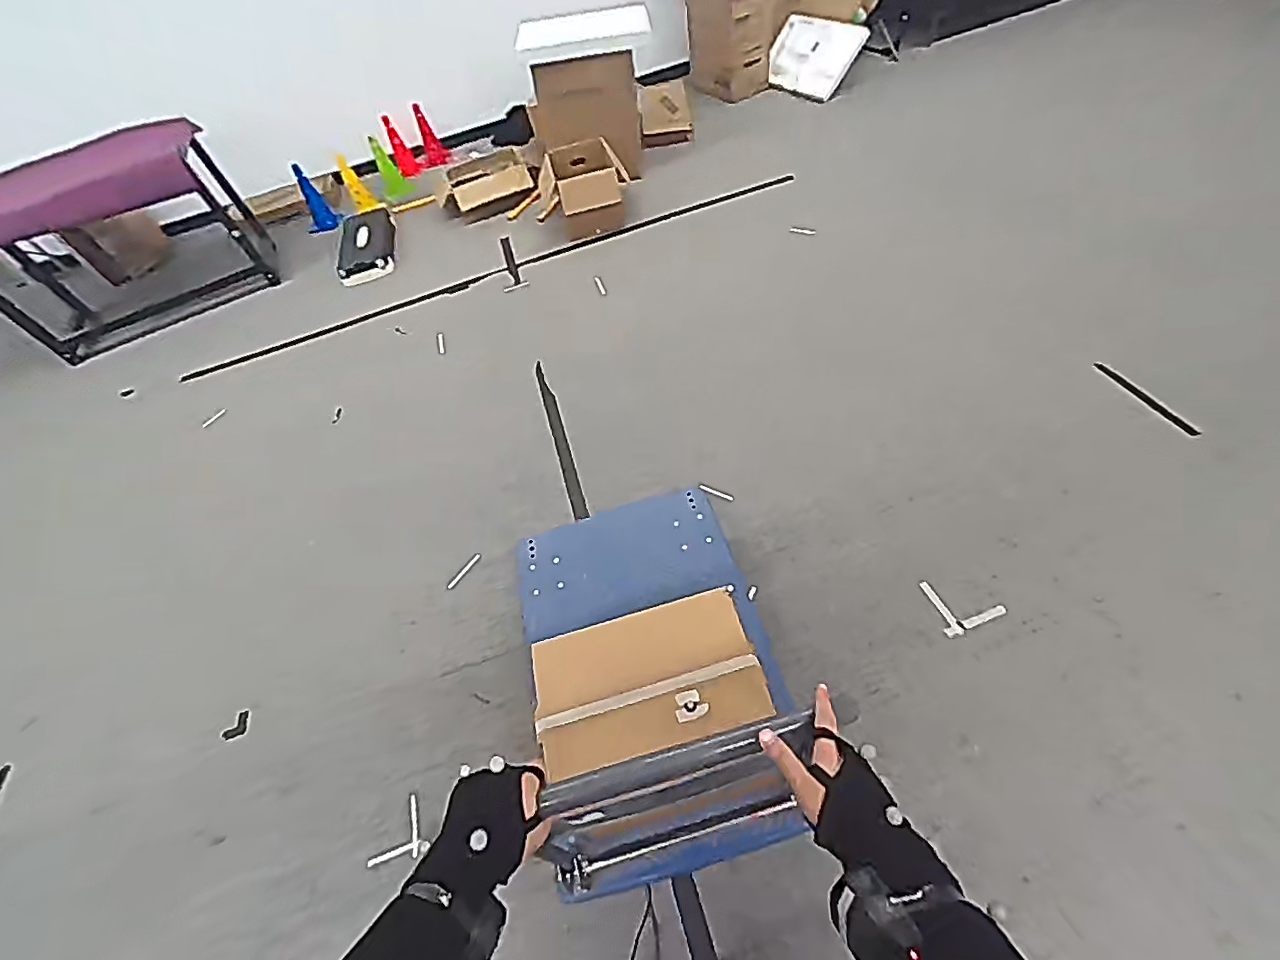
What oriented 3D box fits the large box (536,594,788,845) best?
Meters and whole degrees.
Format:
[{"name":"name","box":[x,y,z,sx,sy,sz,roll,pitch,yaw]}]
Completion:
[{"name":"large box","box":[0.041,0.486,1.088,0.408,0.320,0.320,-16,52,-2]}]
